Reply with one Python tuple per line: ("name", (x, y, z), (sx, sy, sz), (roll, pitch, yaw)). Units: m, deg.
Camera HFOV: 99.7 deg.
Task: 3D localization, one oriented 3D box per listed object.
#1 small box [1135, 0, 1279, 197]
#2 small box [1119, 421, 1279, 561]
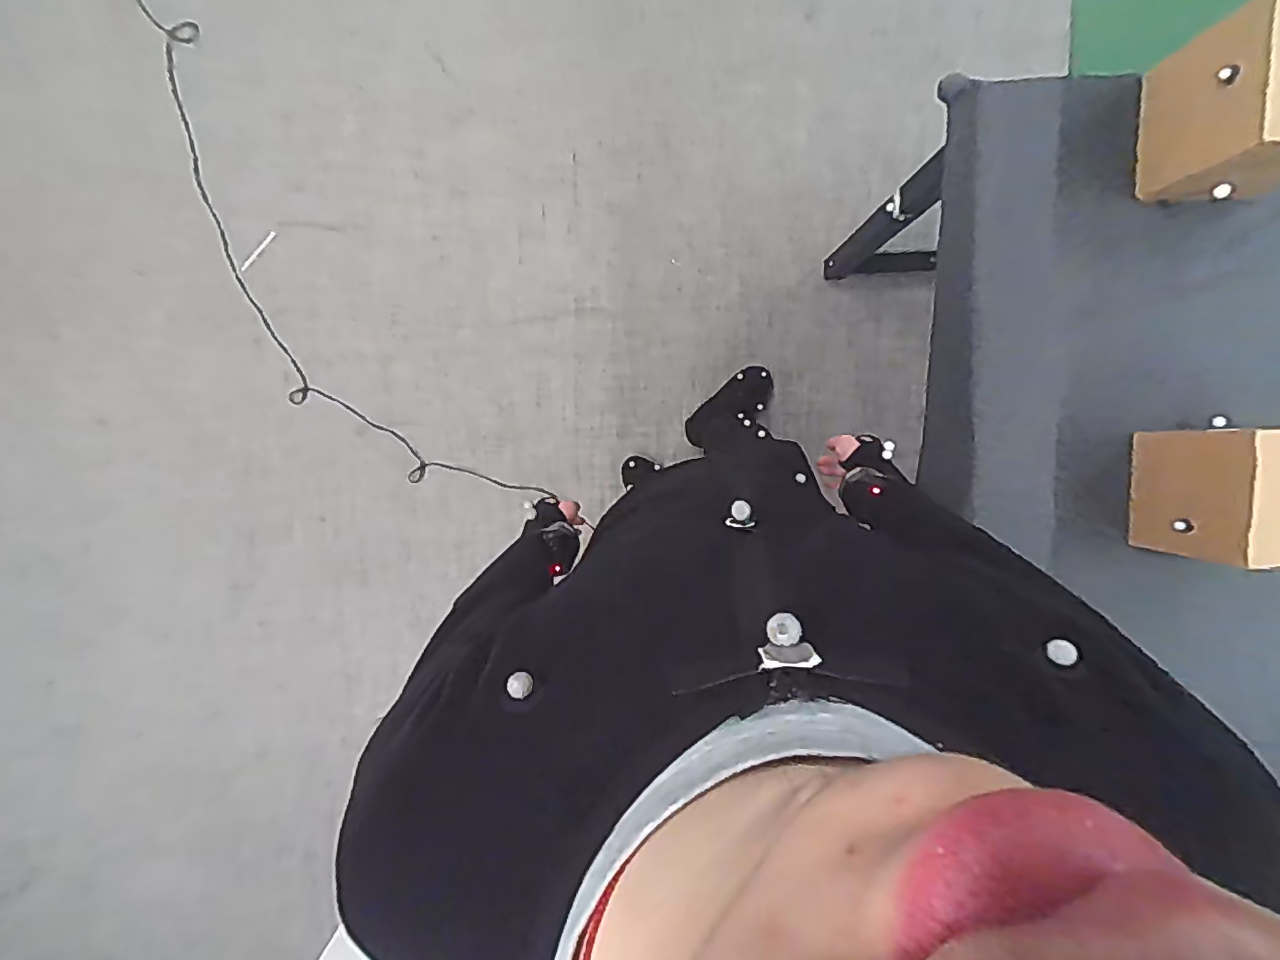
("small box", (0.800, -0.494, 0.701), (0.168, 0.176, 0.179), (-1, 97, -1))
("small box", (0.827, 0.008, 0.760), (0.168, 0.176, 0.179), (-2, 95, -2))
